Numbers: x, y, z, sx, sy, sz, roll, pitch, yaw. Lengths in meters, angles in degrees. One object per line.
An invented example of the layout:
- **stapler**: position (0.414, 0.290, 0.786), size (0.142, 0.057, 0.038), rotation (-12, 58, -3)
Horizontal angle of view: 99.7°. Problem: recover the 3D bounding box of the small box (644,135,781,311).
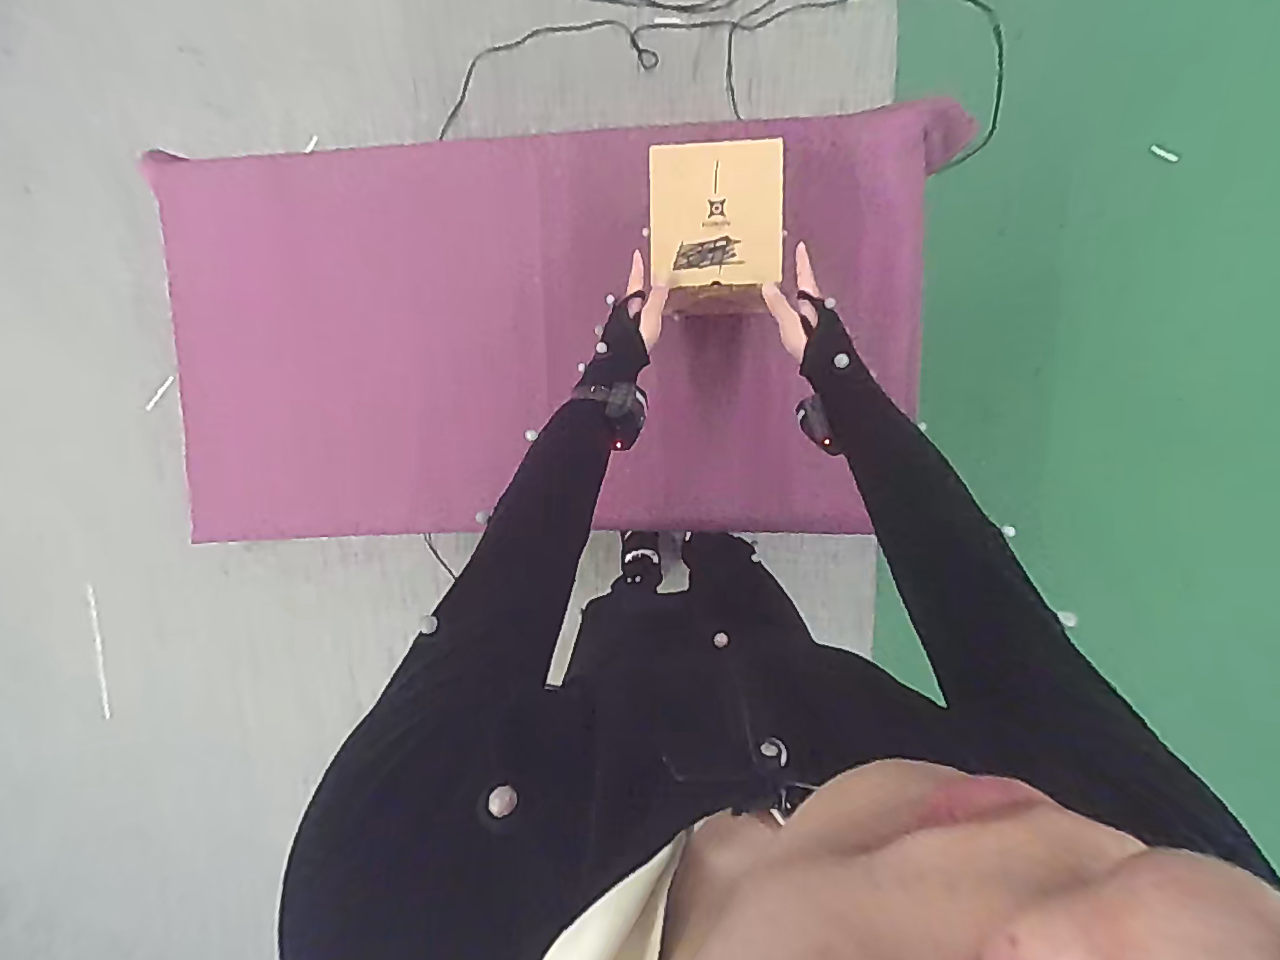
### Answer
- **small box**: position (0.095, -0.334, 0.739), size (0.168, 0.176, 0.179), rotation (0, 95, 5)
